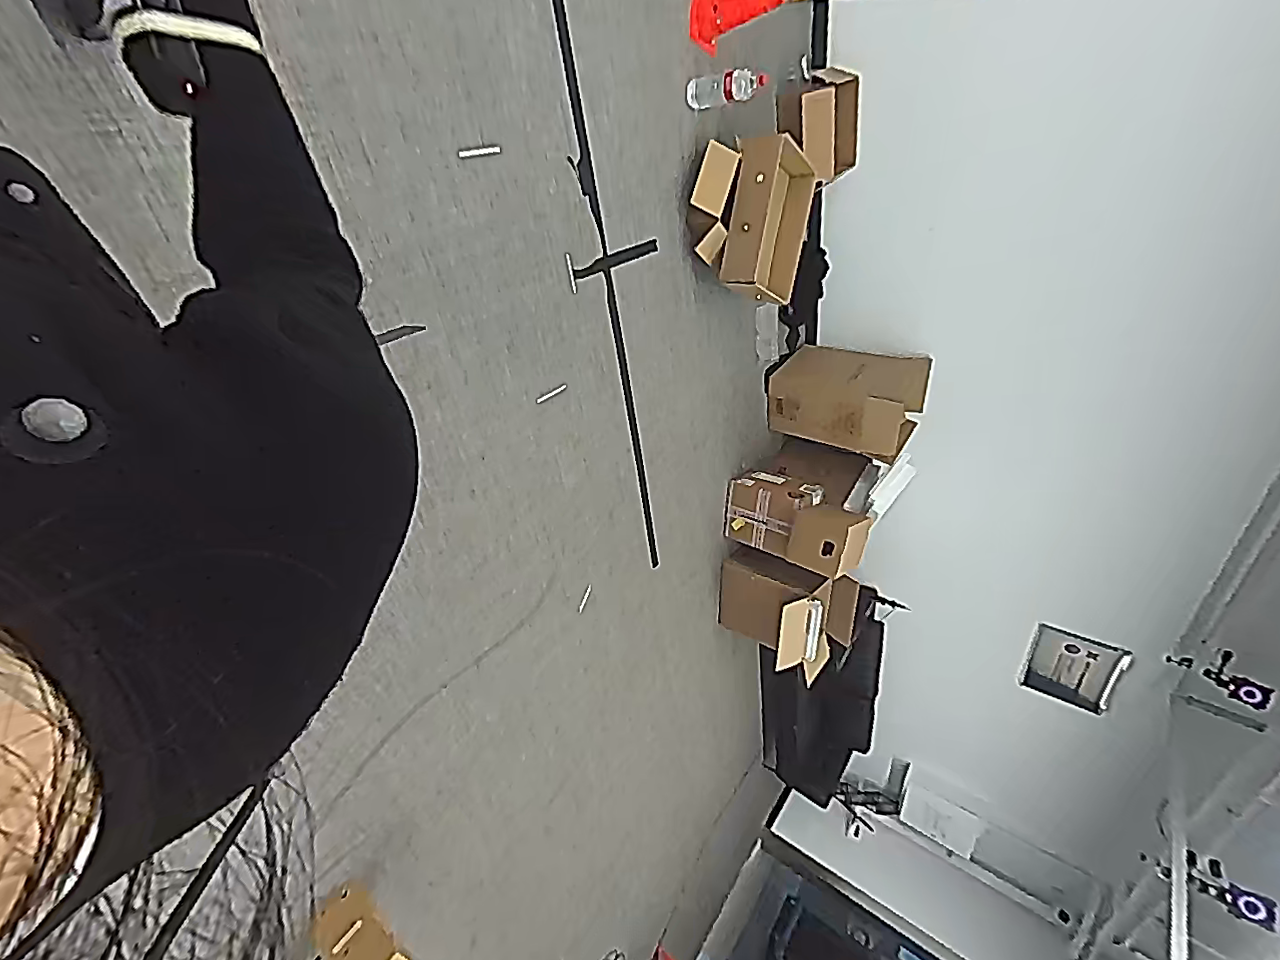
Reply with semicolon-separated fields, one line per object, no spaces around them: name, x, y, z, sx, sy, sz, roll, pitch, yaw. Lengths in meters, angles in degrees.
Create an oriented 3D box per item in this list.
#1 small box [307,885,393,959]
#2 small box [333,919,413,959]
small box;-0.978;1.517;1.818;0.168;0.176;0.179;-41;134;-37
small box;-0.853;1.557;1.723;0.168;0.176;0.179;-41;135;-35
